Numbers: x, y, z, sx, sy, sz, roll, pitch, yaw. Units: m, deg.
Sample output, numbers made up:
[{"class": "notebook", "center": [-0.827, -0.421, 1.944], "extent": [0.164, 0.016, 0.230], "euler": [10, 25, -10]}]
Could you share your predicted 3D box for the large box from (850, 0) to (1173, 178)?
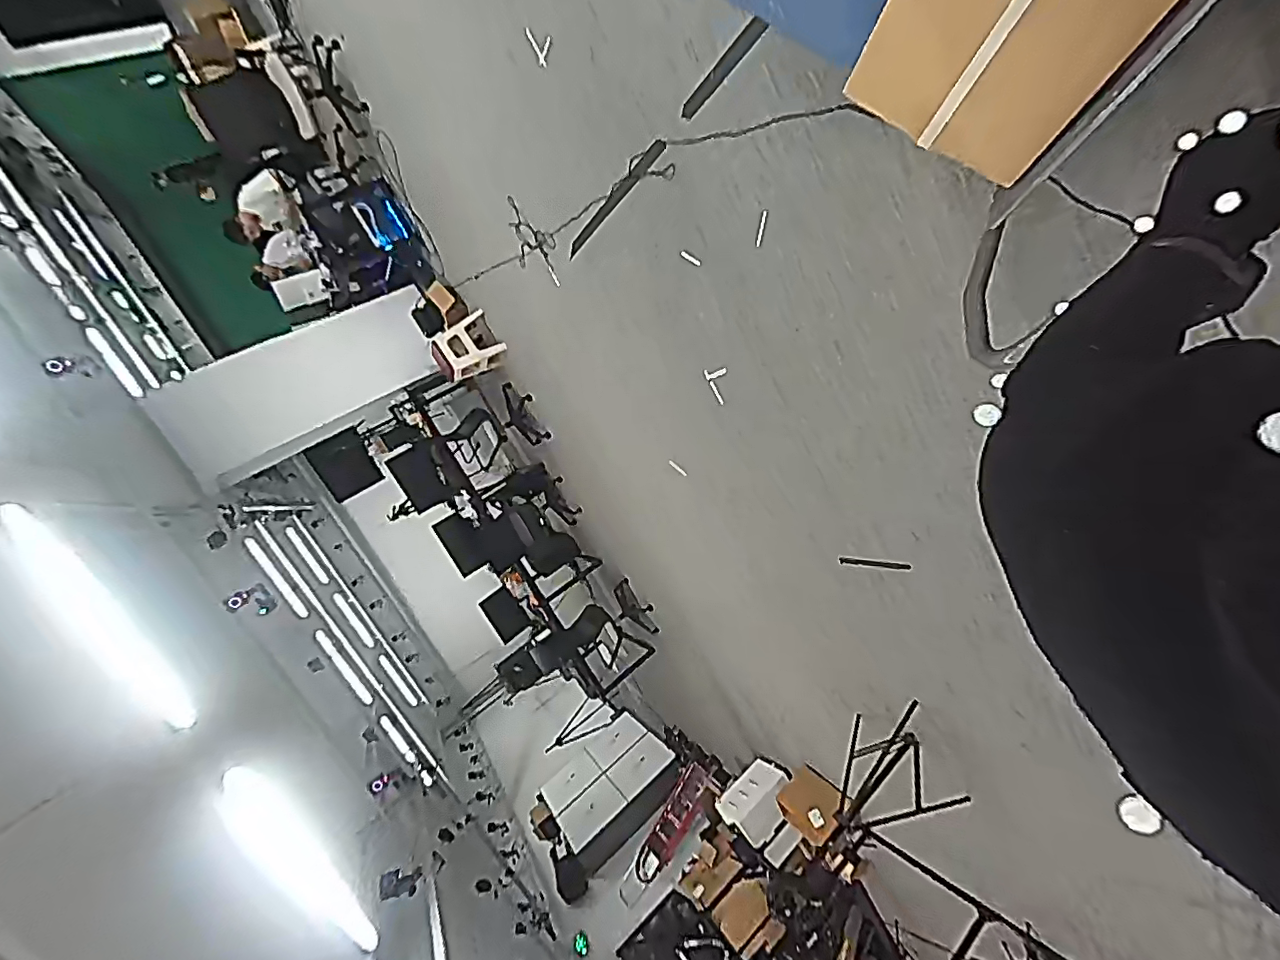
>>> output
[{"class": "large box", "center": [0.578, -0.747, 0.761], "extent": [0.320, 0.320, 0.408], "euler": [33, 152, 3]}]
